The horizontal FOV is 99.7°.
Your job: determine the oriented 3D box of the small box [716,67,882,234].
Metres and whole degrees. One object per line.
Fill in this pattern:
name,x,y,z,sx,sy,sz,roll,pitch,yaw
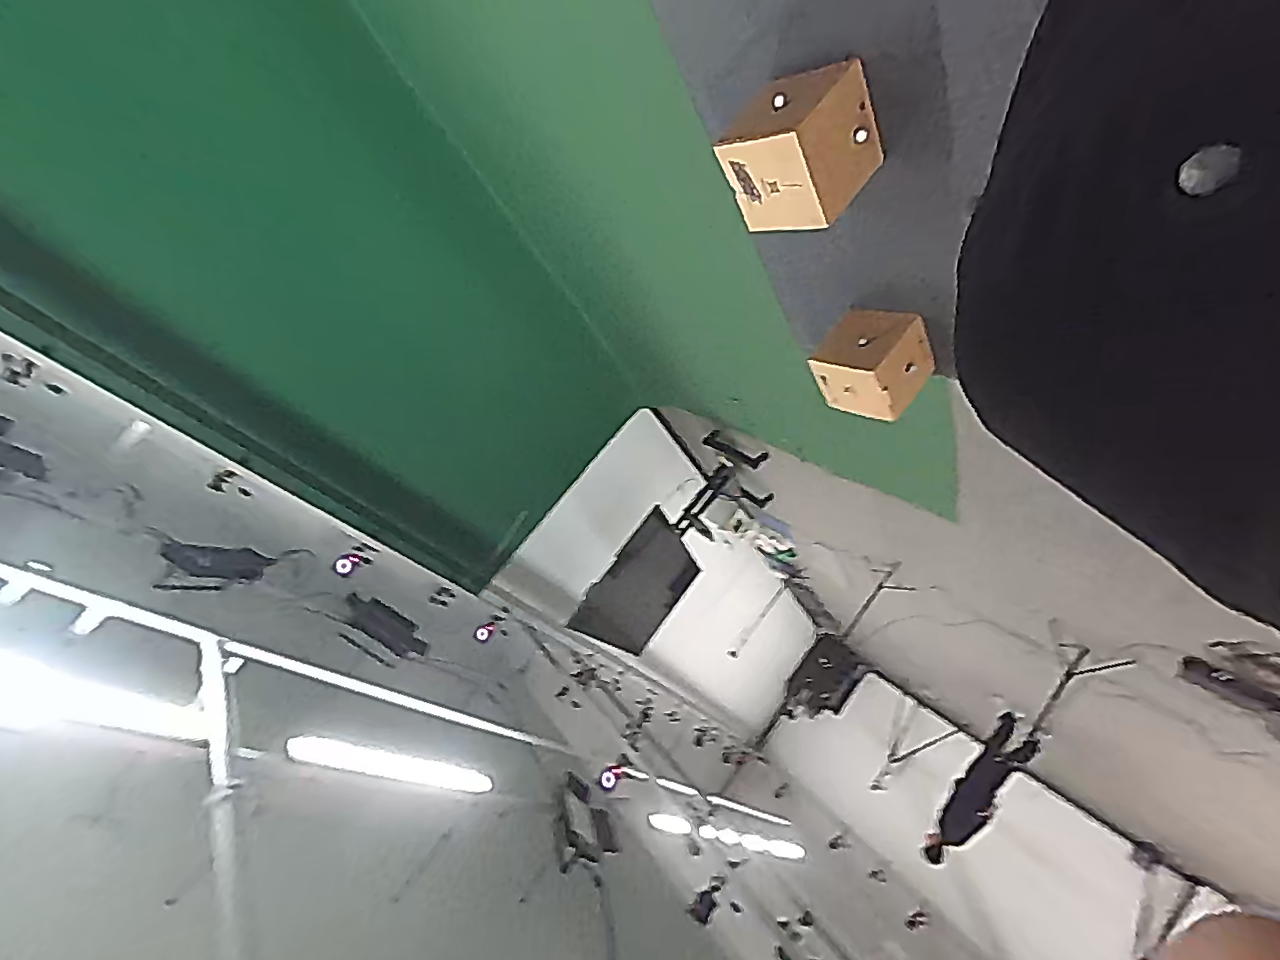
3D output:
small box,0.266,-0.537,0.900,0.179,0.176,0.168,28,166,48

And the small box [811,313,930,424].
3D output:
small box,0.527,-0.257,1.222,0.179,0.176,0.168,28,165,50
